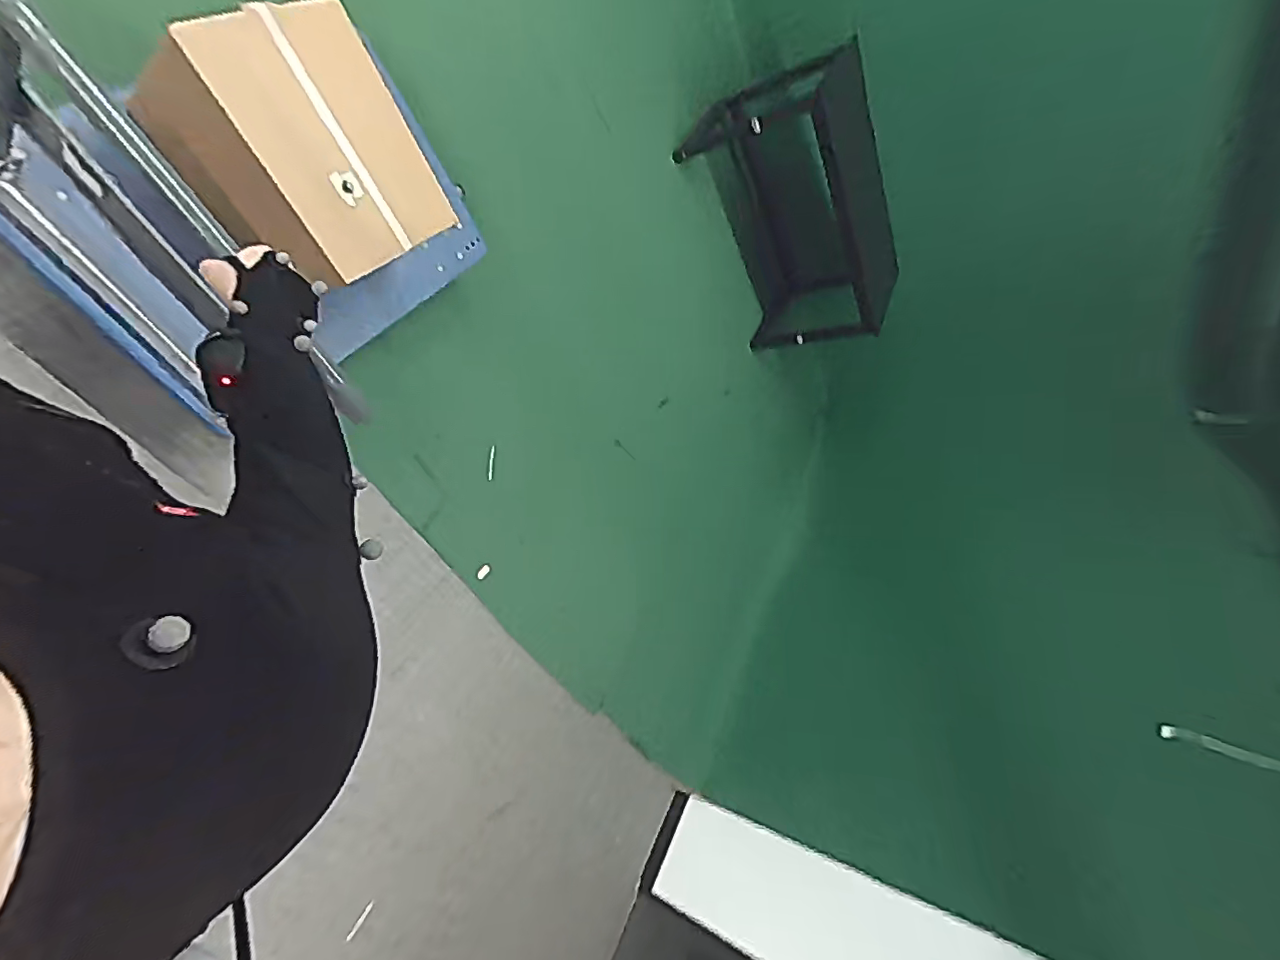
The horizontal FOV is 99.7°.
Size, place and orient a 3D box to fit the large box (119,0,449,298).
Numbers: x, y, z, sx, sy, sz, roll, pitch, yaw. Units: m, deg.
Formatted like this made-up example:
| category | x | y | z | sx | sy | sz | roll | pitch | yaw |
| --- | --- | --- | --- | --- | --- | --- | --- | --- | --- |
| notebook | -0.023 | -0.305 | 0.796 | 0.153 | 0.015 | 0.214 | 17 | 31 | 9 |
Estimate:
| category | x | y | z | sx | sy | sz | roll | pitch | yaw |
| --- | --- | --- | --- | --- | --- | --- | --- | --- | --- |
| large box | -0.683 | -0.636 | 1.081 | 0.320 | 0.320 | 0.408 | -53 | 132 | -35 |
